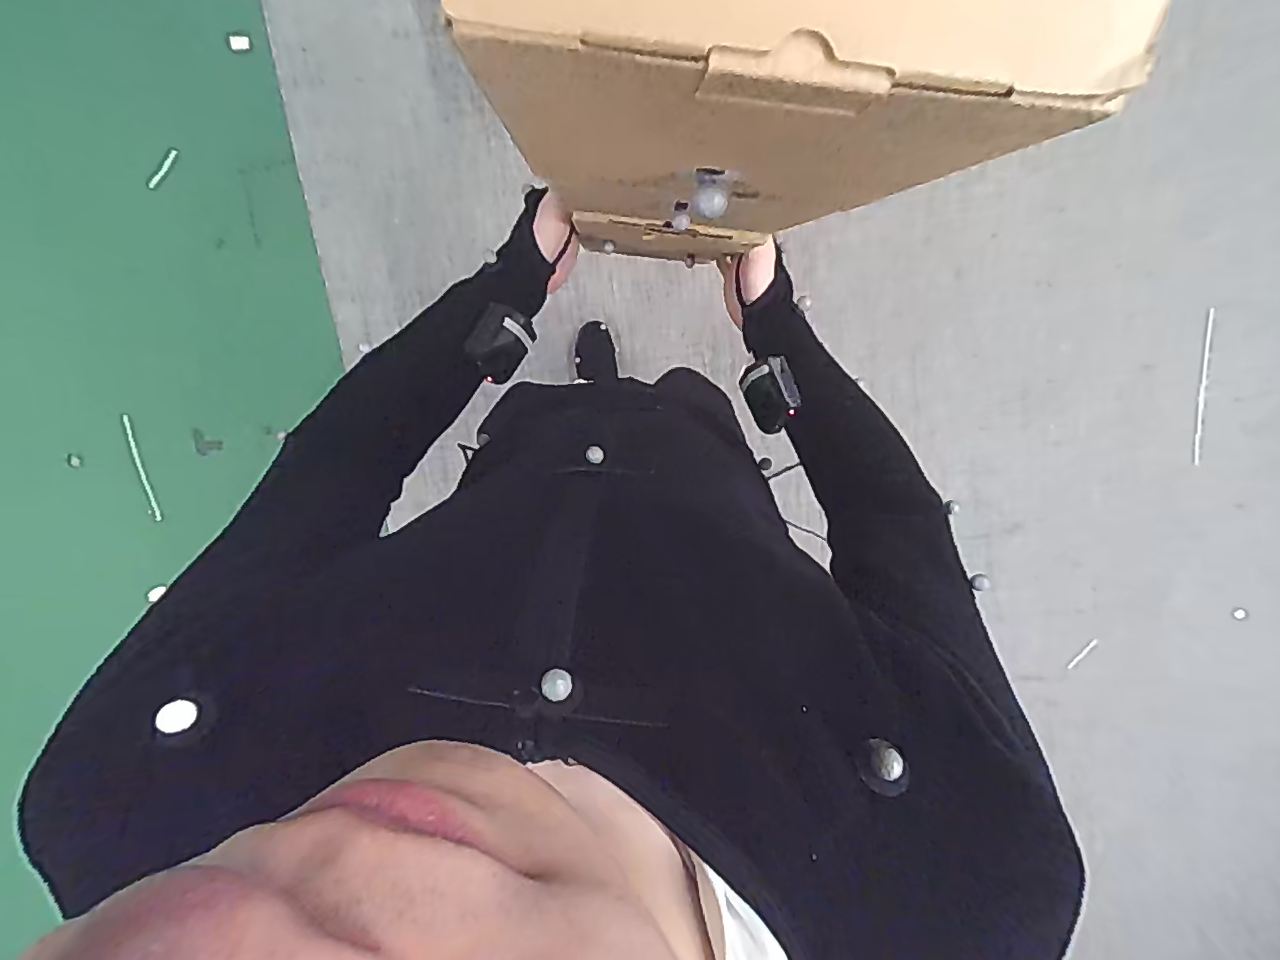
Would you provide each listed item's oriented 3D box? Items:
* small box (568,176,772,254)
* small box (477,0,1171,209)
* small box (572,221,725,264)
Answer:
[{"bbox_3d":[0.029,-0.309,0.486,0.168,0.176,0.179,5,108,-6],"label":"small box"},{"bbox_3d":[0.042,-0.204,0.173,0.168,0.176,0.179,4,108,-5],"label":"small box"},{"bbox_3d":[0.016,-0.357,0.642,0.179,0.176,0.168,4,108,-6],"label":"small box"}]
